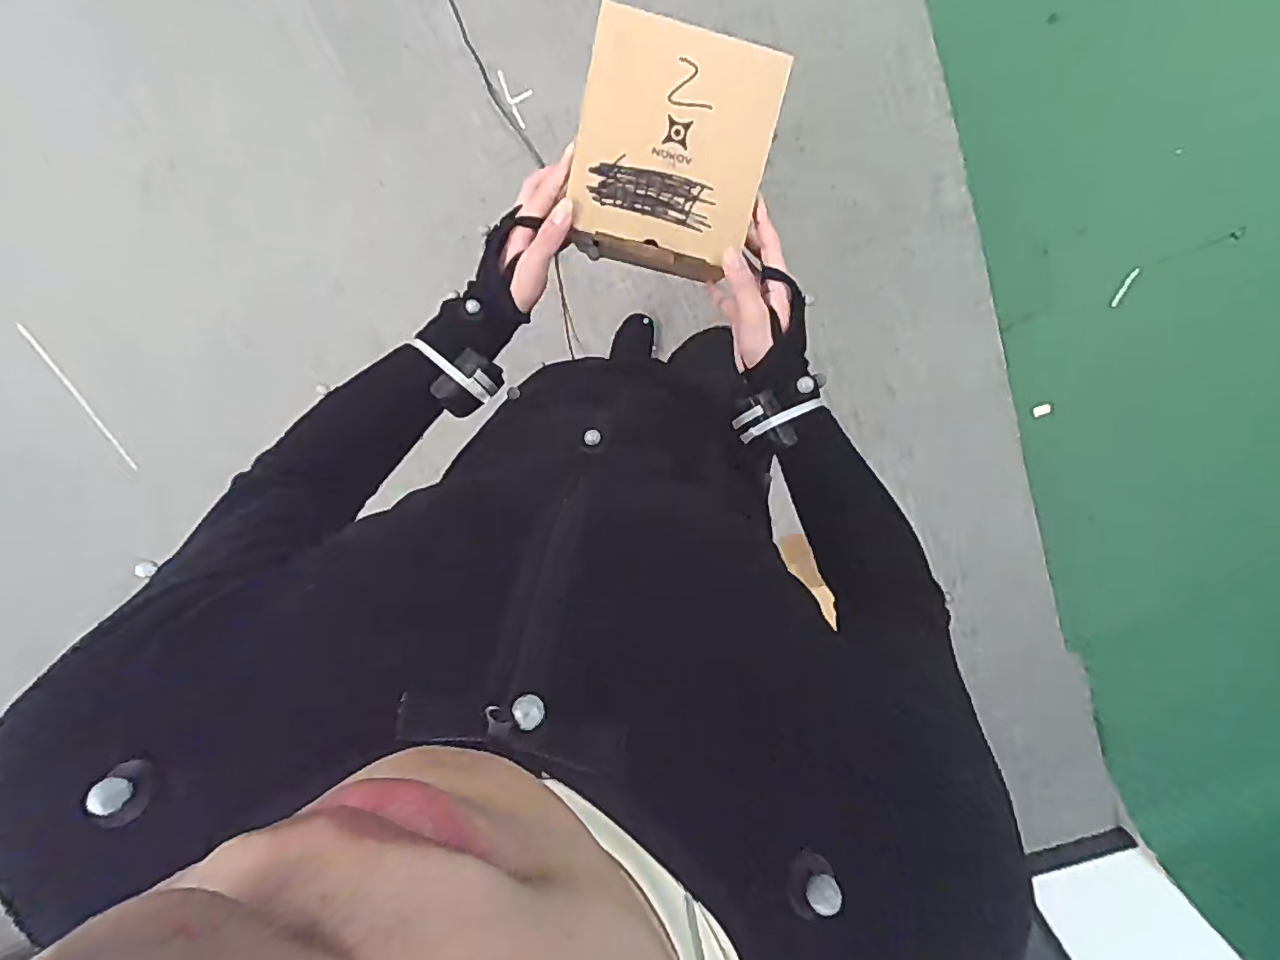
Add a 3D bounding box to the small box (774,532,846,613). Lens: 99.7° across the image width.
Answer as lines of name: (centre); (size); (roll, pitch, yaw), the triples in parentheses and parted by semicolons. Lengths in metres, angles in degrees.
small box: (0.537, 0.282, 1.679); (0.179, 0.176, 0.168); (-17, 107, 6)
